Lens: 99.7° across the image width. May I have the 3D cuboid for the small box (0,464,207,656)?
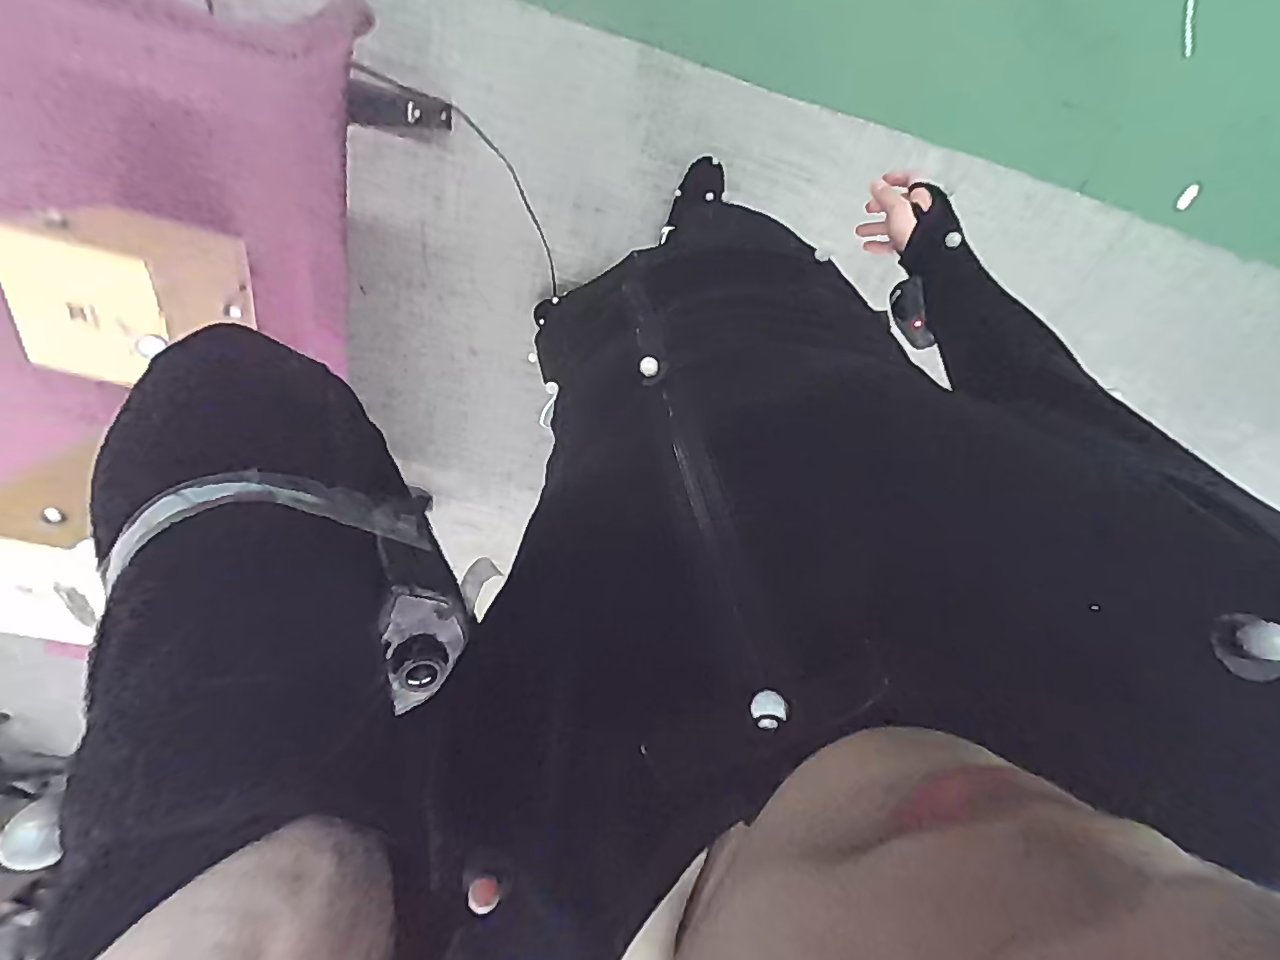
[{"bbox_3d":[-0.712,0.098,0.707,0.179,0.176,0.168,12,120,-6],"label":"small box"}]

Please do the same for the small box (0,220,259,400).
[{"bbox_3d":[-0.641,-0.226,0.700,0.179,0.176,0.168,12,121,-6],"label":"small box"}]
